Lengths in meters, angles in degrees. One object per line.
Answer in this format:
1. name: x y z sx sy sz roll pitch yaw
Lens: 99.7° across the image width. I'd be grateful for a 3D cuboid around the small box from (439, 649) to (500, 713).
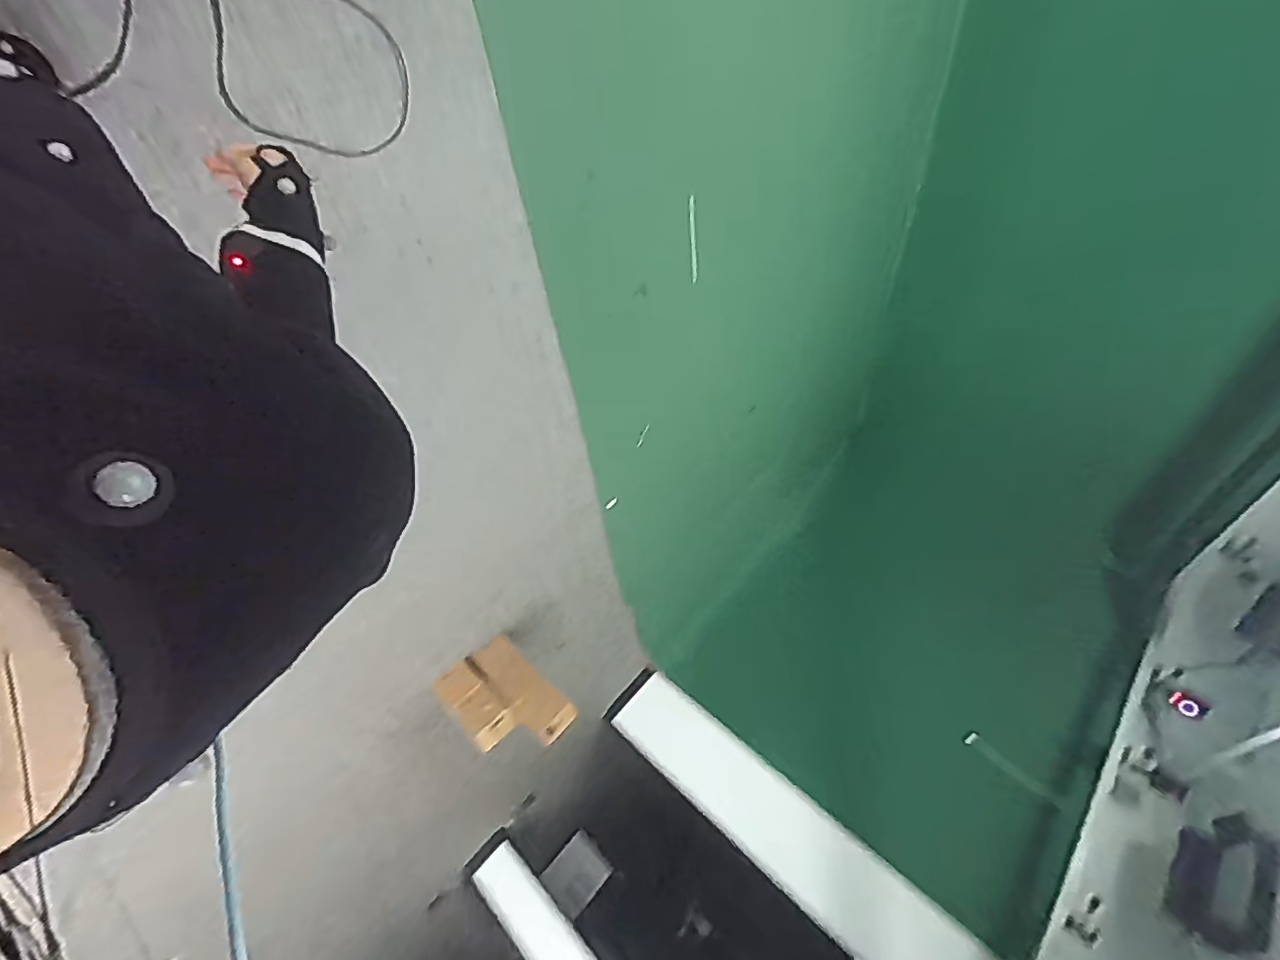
1. small box: -0.756 0.888 2.402 0.168 0.176 0.179 -40 143 -26
